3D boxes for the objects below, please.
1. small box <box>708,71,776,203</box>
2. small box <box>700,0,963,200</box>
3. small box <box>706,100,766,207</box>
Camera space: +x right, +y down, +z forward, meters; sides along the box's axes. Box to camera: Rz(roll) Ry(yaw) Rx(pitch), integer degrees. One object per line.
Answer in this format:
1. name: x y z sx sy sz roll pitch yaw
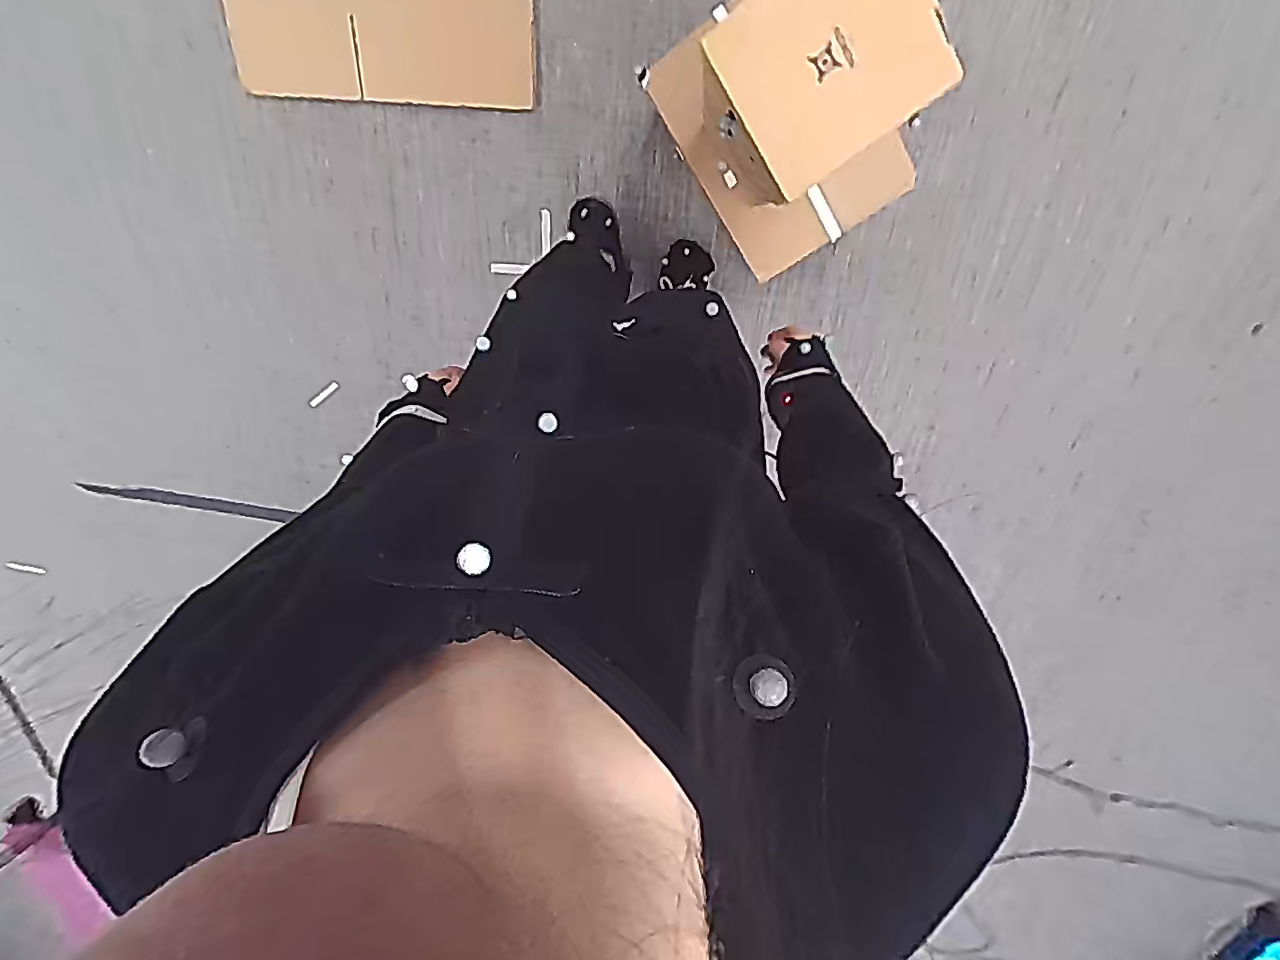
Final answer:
1. small box: 0.199 -0.486 0.696 0.179 0.176 0.168 -31 107 19
2. small box: 0.180 -0.412 0.552 0.179 0.176 0.168 -31 108 20
3. small box: 0.216 -0.555 0.844 0.179 0.176 0.168 -31 108 20
